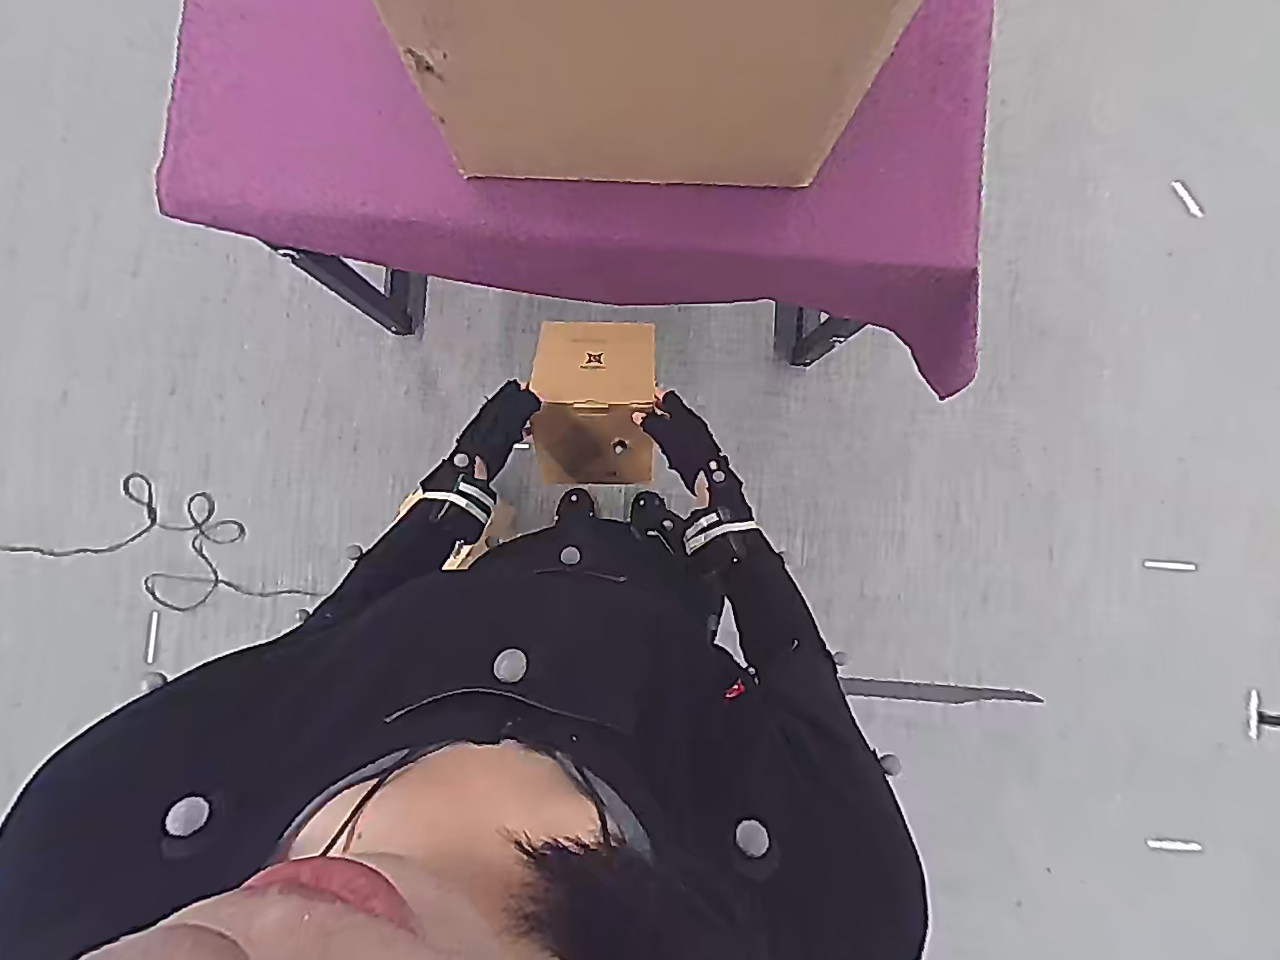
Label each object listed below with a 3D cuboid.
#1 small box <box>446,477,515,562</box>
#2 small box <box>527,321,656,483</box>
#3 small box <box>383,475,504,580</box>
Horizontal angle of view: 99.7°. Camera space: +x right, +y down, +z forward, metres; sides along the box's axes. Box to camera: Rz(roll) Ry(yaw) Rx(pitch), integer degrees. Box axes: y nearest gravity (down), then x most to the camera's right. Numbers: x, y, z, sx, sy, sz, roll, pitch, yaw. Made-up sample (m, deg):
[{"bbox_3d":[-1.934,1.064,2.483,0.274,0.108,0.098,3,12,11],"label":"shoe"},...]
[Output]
[{"bbox_3d":[-0.456,0.109,1.421,0.179,0.176,0.168,34,87,-2],"label":"small box"},{"bbox_3d":[-0.061,-0.110,0.788,0.168,0.176,0.179,1,50,-1],"label":"small box"},{"bbox_3d":[-0.447,0.108,1.257,0.179,0.176,0.168,37,87,0],"label":"small box"}]
